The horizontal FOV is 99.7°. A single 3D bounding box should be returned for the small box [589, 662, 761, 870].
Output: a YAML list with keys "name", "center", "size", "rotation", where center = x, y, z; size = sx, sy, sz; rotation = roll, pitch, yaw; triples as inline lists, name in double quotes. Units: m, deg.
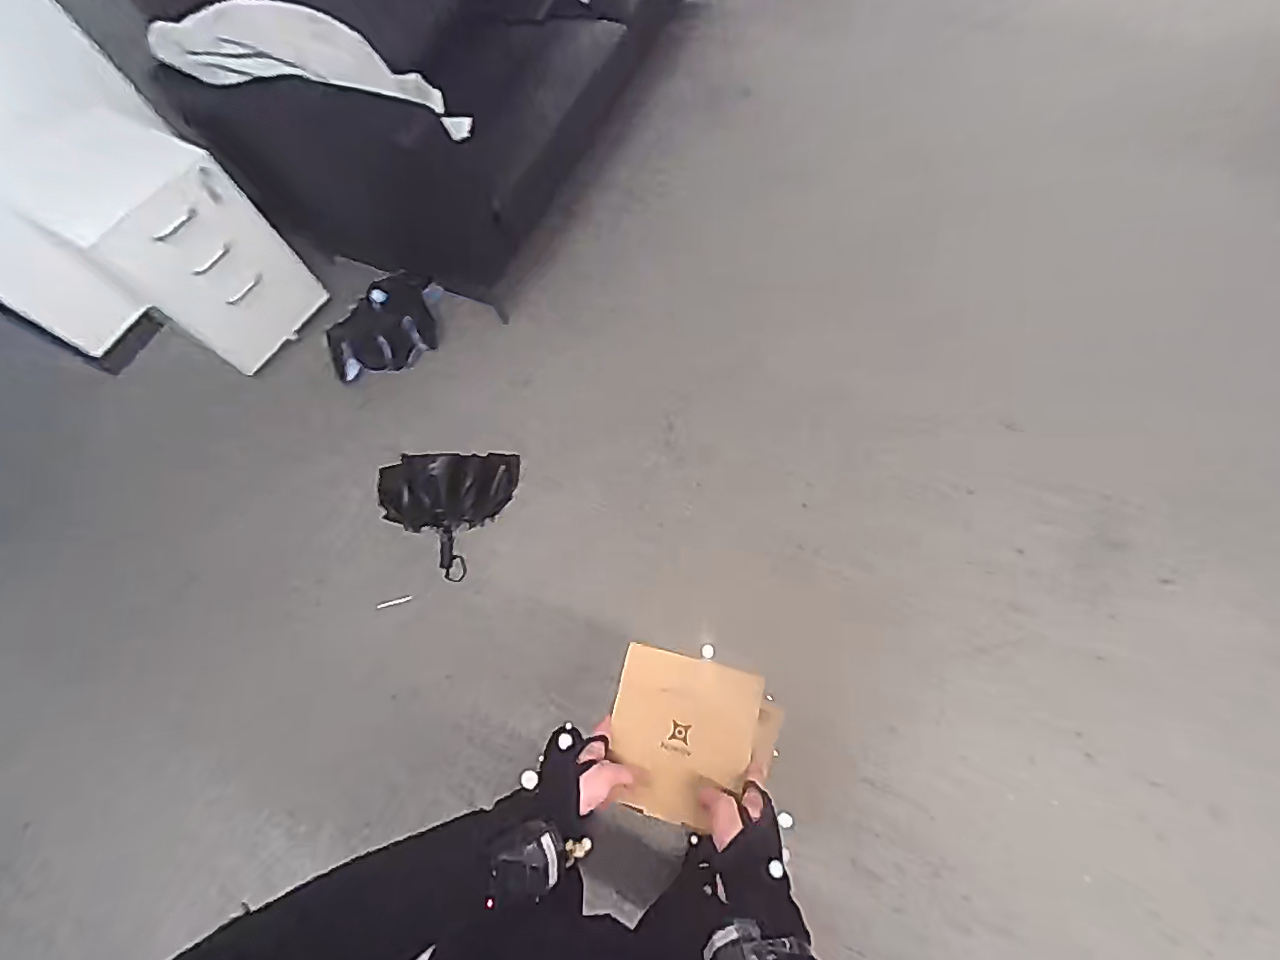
- name: "small box"
  center: [0.049, 0.333, 0.671]
  size: [0.168, 0.176, 0.179]
  rotation: [10, 73, 9]

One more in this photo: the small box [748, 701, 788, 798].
- name: "small box"
  center: [0.215, 0.573, 1.213]
  size: [0.168, 0.176, 0.179]
  rotation: [21, 72, 15]
